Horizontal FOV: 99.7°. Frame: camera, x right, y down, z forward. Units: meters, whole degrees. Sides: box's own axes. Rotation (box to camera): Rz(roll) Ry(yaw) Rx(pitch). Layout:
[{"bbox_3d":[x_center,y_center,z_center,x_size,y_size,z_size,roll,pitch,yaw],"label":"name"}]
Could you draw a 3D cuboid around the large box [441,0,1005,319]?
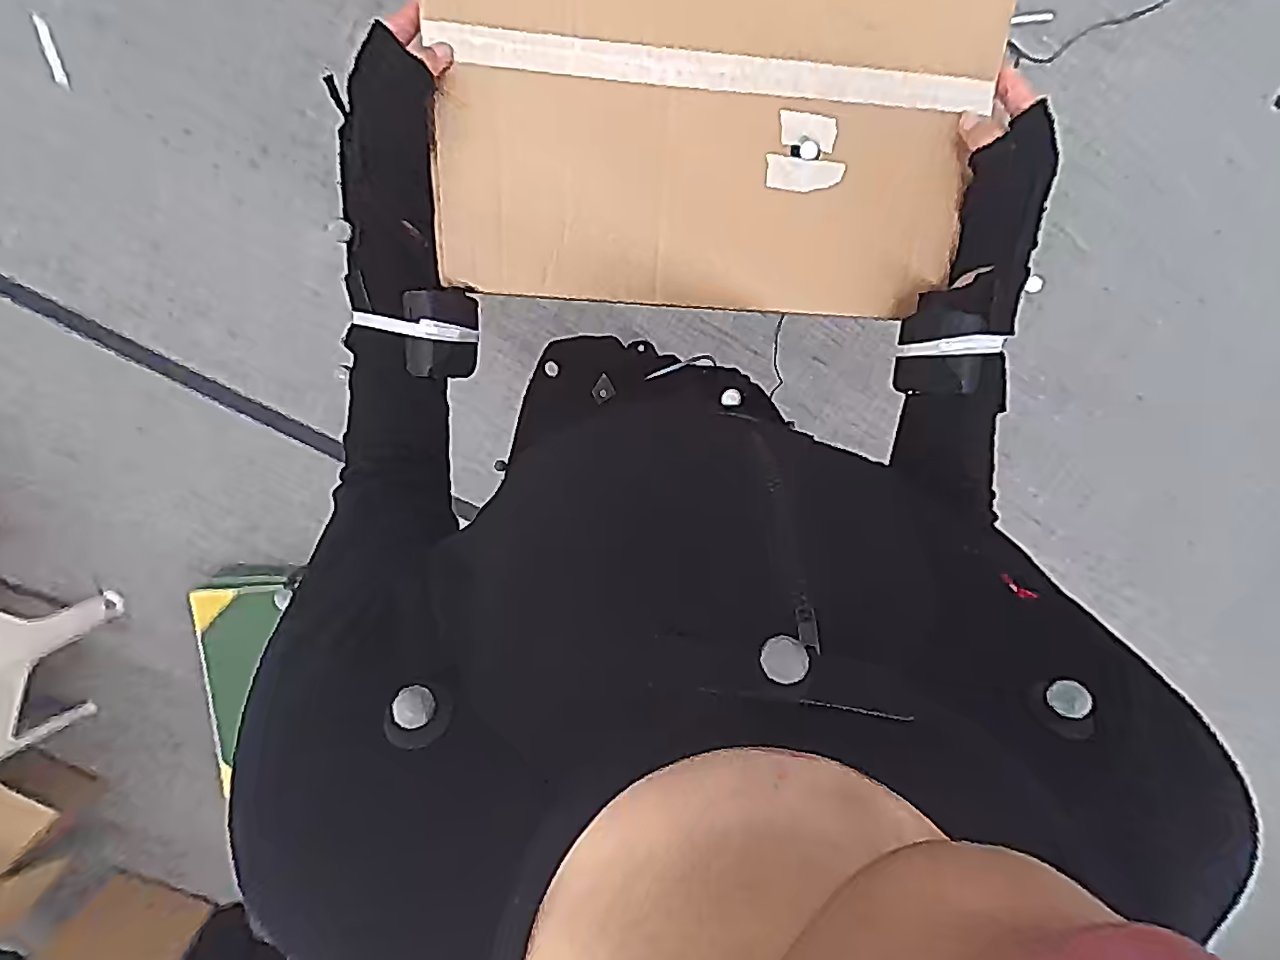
[{"bbox_3d":[0.046,-0.341,0.532,0.408,0.320,0.320,2,112,-7],"label":"large box"}]
